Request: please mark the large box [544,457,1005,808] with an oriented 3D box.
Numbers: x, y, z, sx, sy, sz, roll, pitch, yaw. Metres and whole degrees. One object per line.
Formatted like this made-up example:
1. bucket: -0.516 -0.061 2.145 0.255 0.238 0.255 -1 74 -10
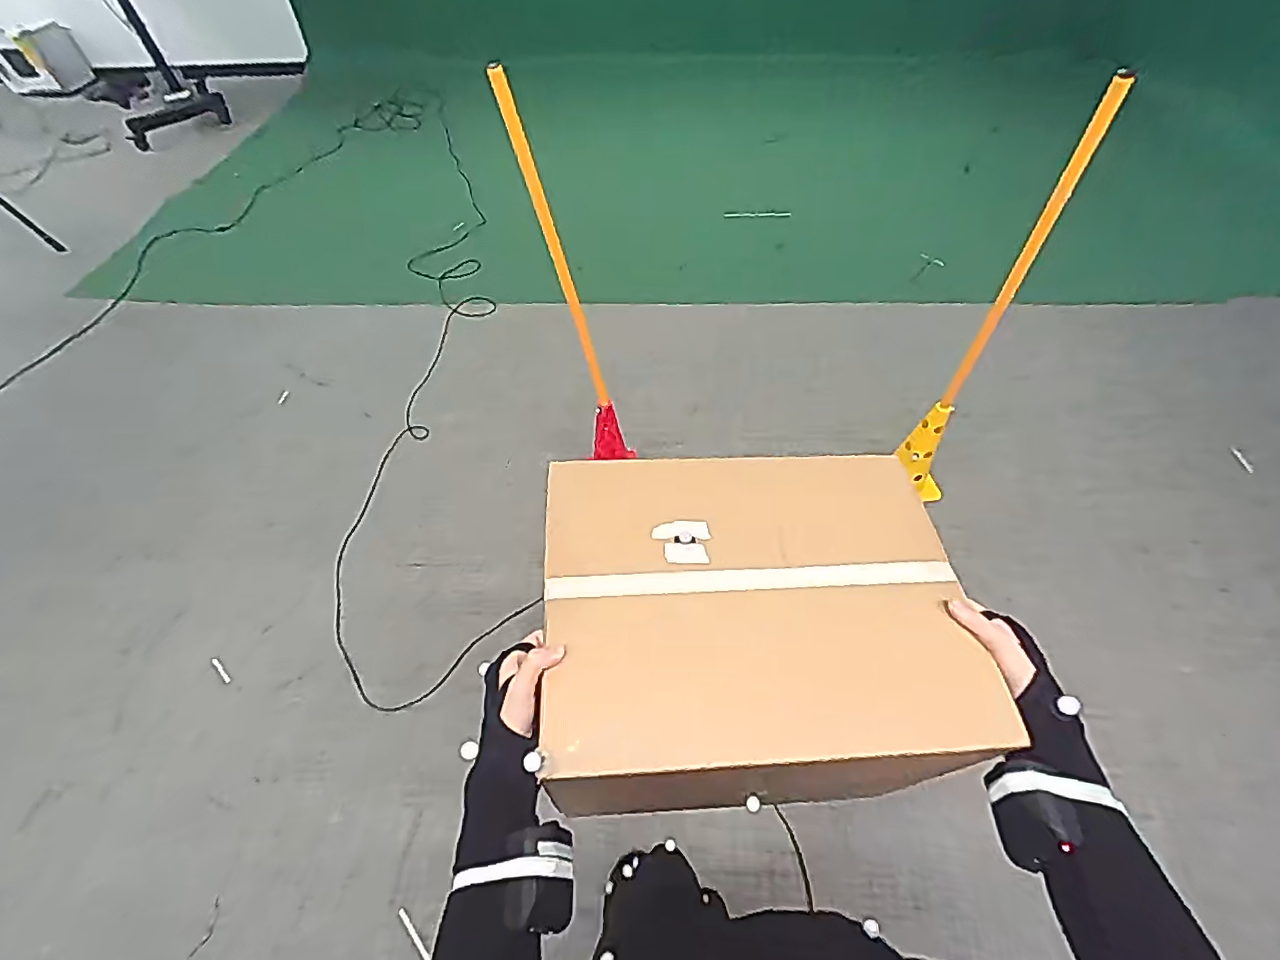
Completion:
1. large box: 0.105 0.193 0.656 0.408 0.320 0.320 -2 53 -4
